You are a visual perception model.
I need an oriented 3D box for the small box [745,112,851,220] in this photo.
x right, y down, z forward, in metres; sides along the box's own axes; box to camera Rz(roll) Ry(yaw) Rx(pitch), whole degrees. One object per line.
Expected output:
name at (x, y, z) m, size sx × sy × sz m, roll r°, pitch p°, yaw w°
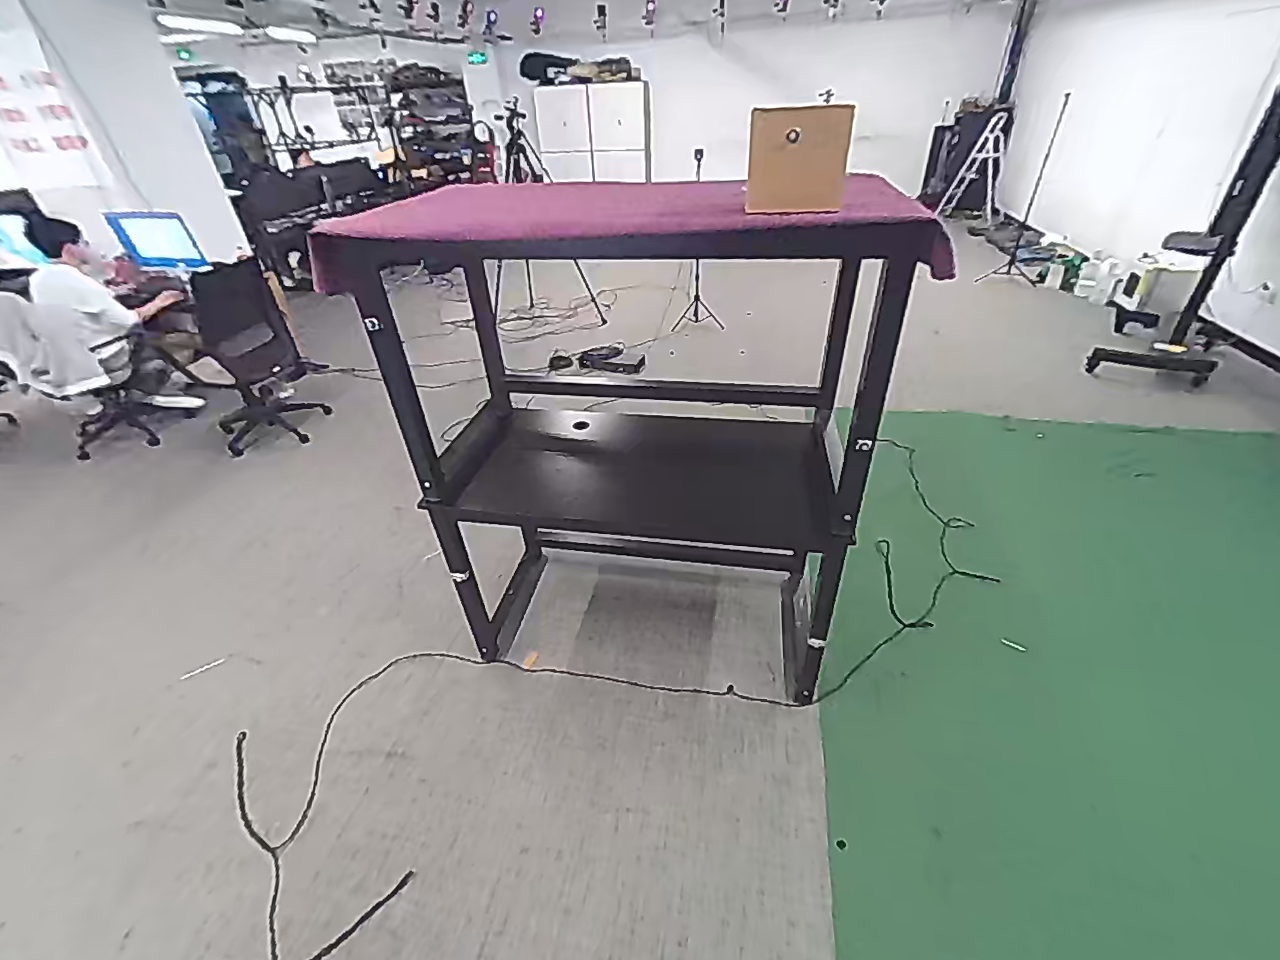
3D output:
small box at (0.298, -0.609, 1.052) m, size 0.179 × 0.176 × 0.168 m, roll 5°, pitch 35°, yaw 10°
